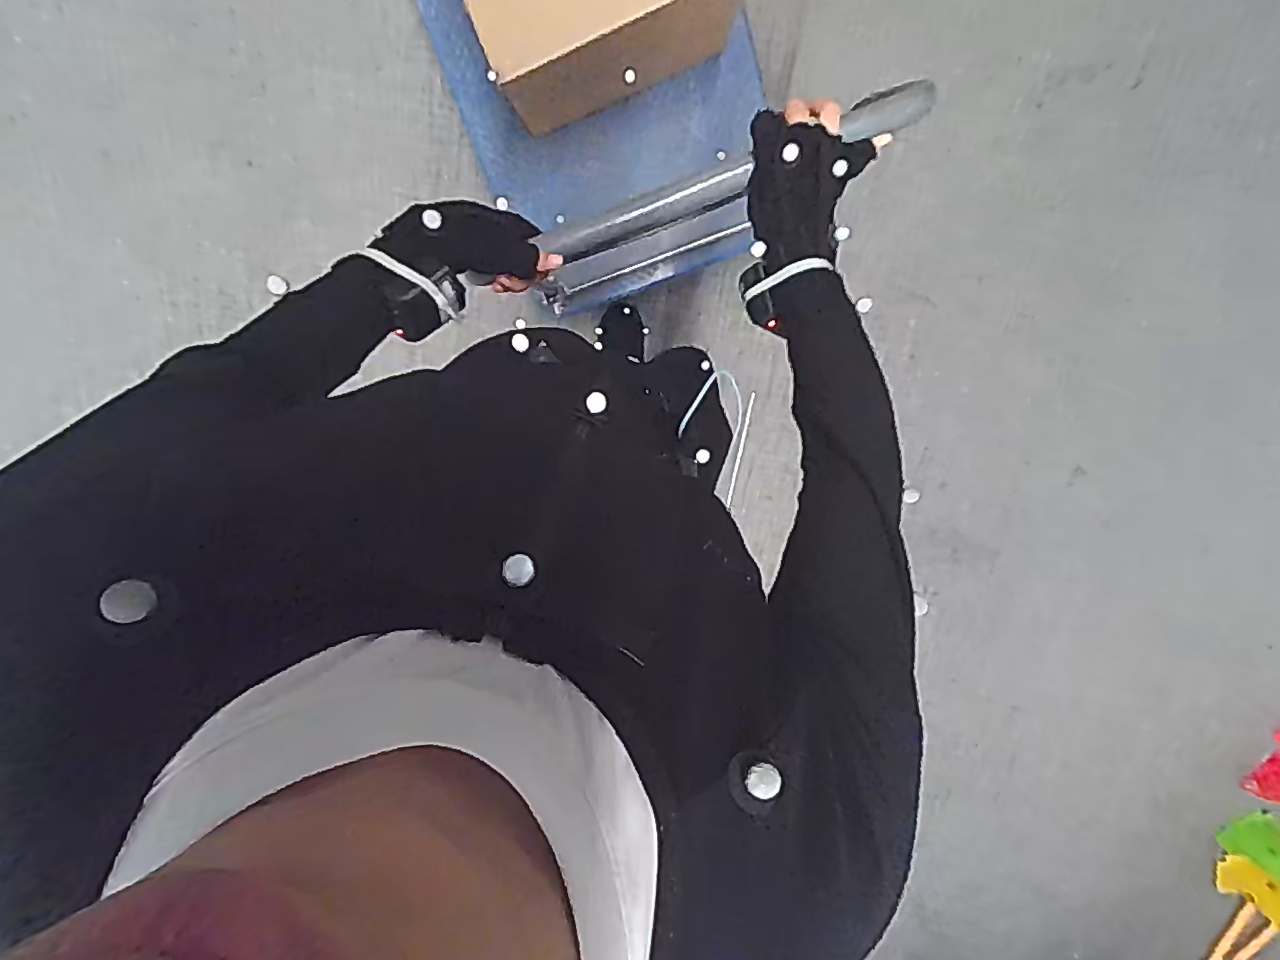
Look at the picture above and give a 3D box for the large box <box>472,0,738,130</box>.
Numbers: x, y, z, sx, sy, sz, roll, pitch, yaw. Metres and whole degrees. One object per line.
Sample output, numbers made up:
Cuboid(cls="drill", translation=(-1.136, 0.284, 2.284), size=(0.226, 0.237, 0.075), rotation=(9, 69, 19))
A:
Cuboid(cls="large box", translation=(-0.075, -0.847, 0.868), size=(0.408, 0.320, 0.320), rotation=(-21, 108, 7))
